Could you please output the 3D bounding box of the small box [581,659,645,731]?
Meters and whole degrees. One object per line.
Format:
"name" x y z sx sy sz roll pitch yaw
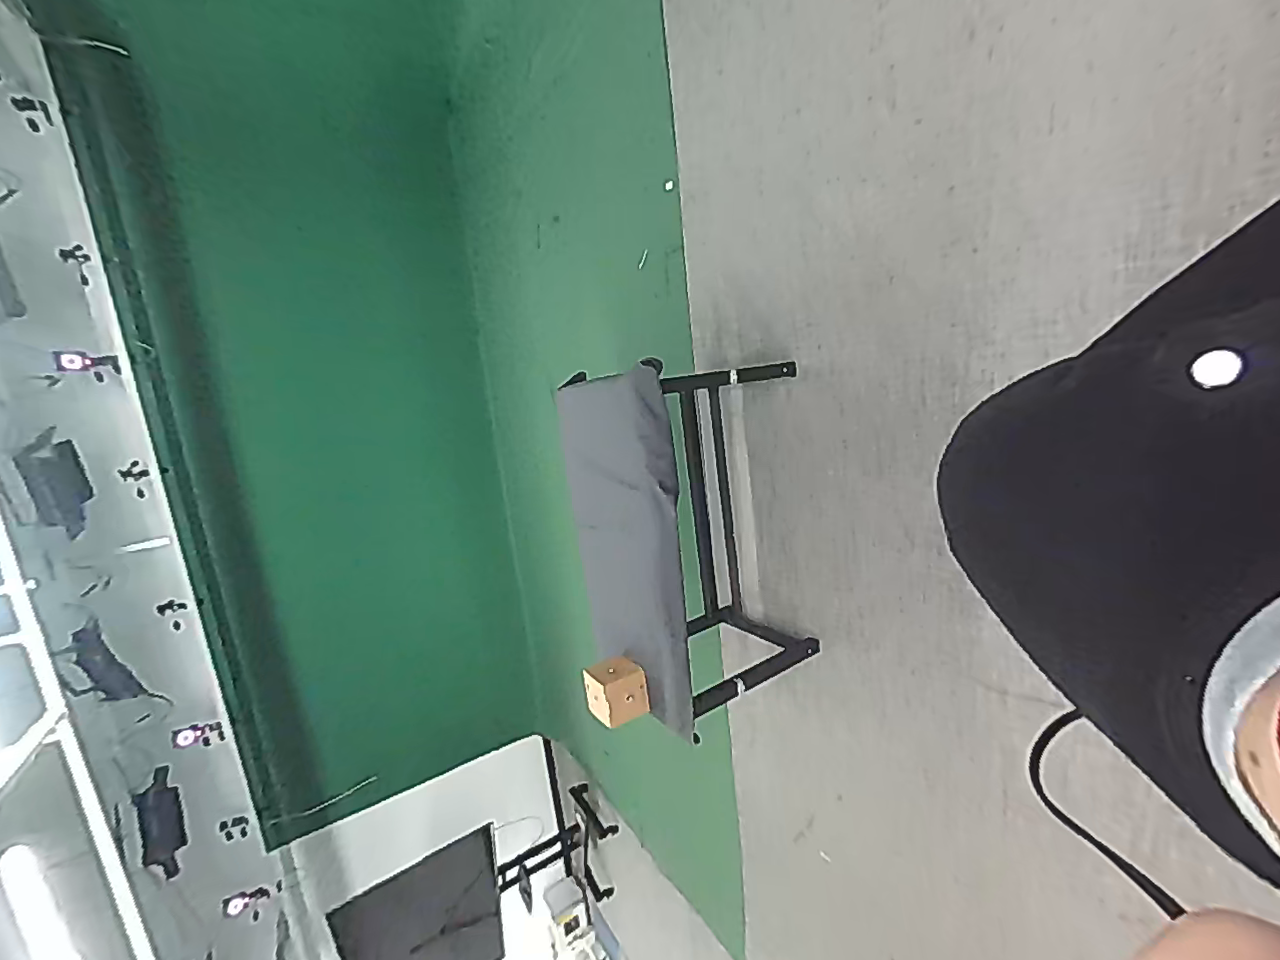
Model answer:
"small box" -0.092 0.783 1.994 0.179 0.176 0.168 2 102 57
